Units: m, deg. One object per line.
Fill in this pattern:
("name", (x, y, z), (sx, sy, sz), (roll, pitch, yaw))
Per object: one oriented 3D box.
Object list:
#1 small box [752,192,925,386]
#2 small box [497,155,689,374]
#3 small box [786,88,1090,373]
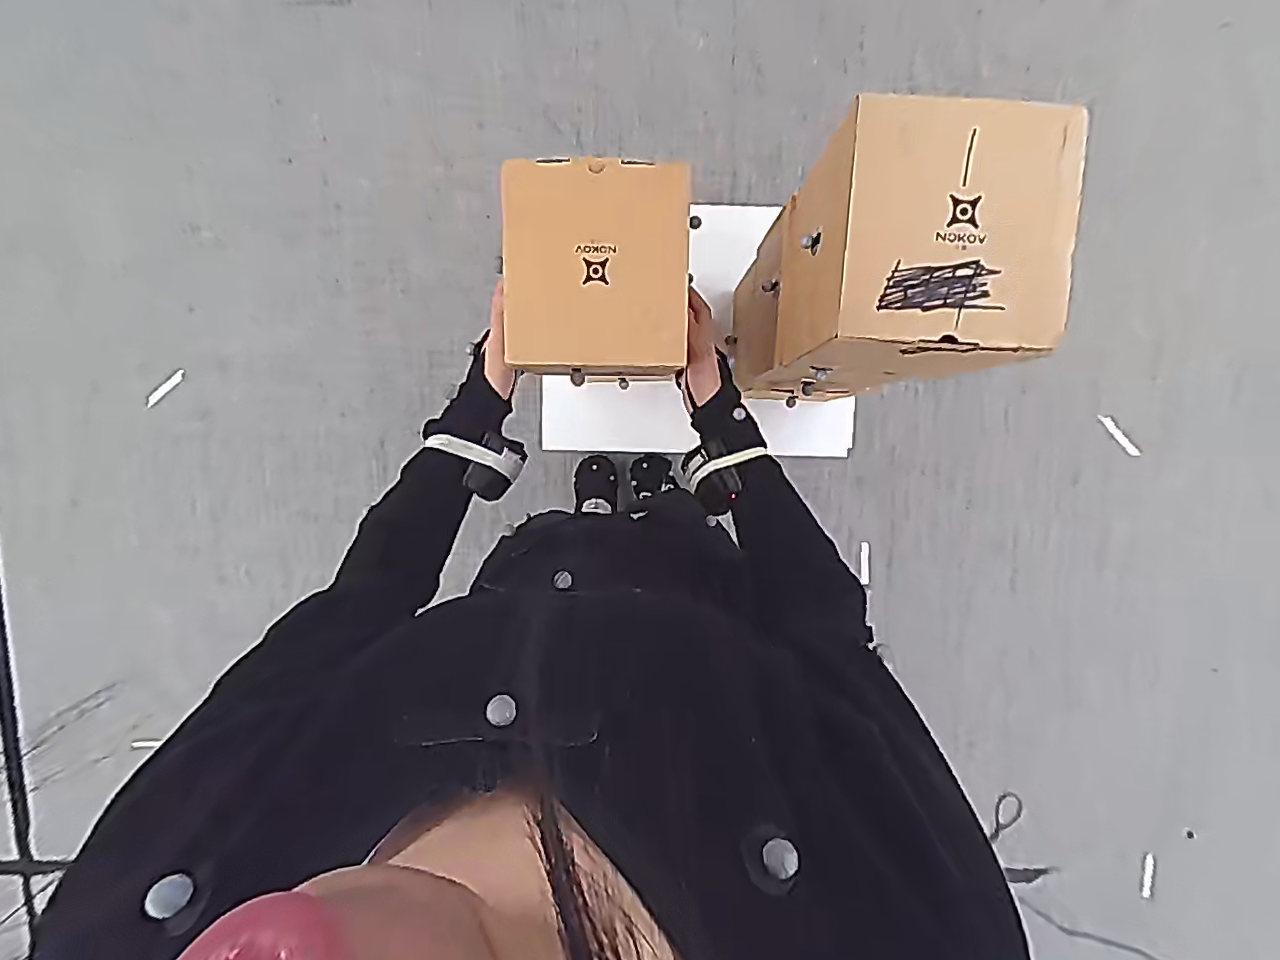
("small box", (0.230, -0.209, 0.632), (0.168, 0.176, 0.179), (2, 96, 1))
("small box", (-0.042, -0.199, 0.549), (0.168, 0.176, 0.179), (0, 97, -2))
("small box", (0.231, -0.192, 0.468), (0.168, 0.176, 0.179), (4, 94, 0))
